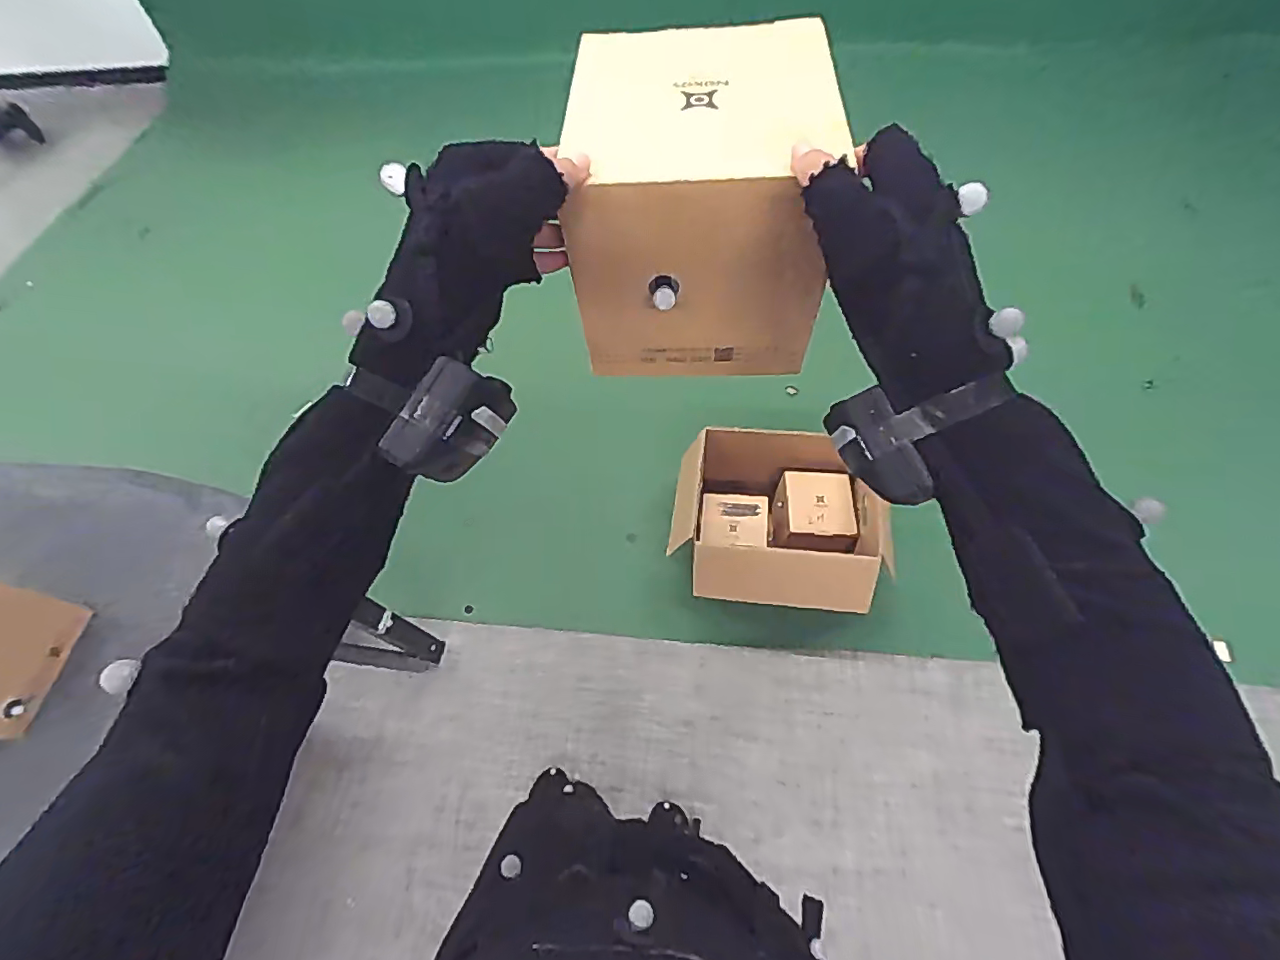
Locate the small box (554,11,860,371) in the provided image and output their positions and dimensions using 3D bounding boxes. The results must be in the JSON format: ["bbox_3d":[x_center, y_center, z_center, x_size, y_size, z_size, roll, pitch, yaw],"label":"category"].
[{"bbox_3d":[0.045,-0.195,0.394,0.168,0.176,0.179,0,60,5],"label":"small box"}]

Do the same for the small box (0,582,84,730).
[{"bbox_3d":[-0.857,0.205,0.652,0.179,0.176,0.168,2,61,7],"label":"small box"}]
